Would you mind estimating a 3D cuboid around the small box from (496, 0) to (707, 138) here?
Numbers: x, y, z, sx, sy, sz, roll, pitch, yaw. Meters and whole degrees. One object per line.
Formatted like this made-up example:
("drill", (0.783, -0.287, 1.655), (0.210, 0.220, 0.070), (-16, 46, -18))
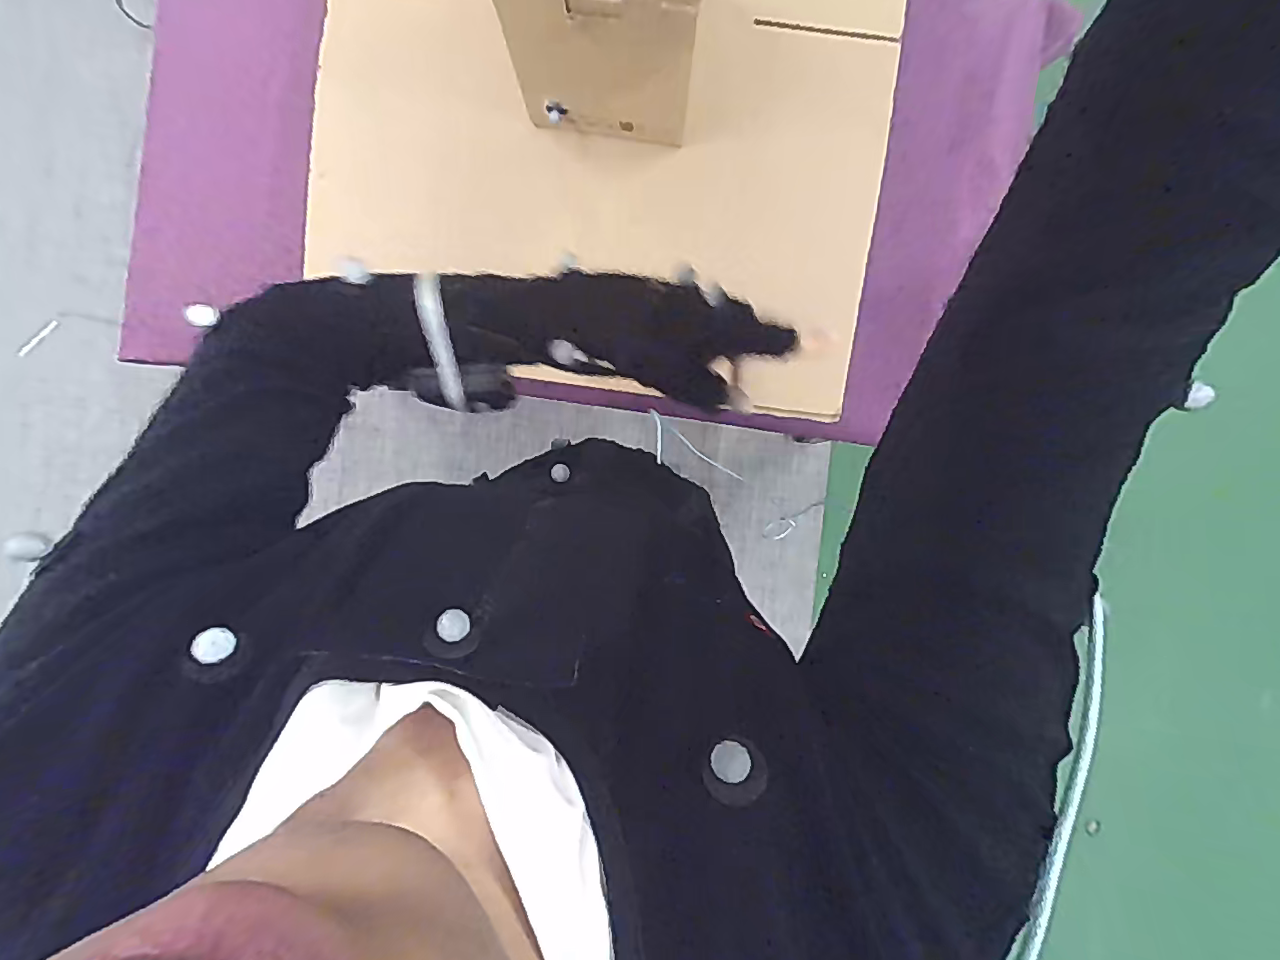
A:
("small box", (-0.021, -0.446, 0.488), (0.168, 0.176, 0.179), (6, 91, 0))
